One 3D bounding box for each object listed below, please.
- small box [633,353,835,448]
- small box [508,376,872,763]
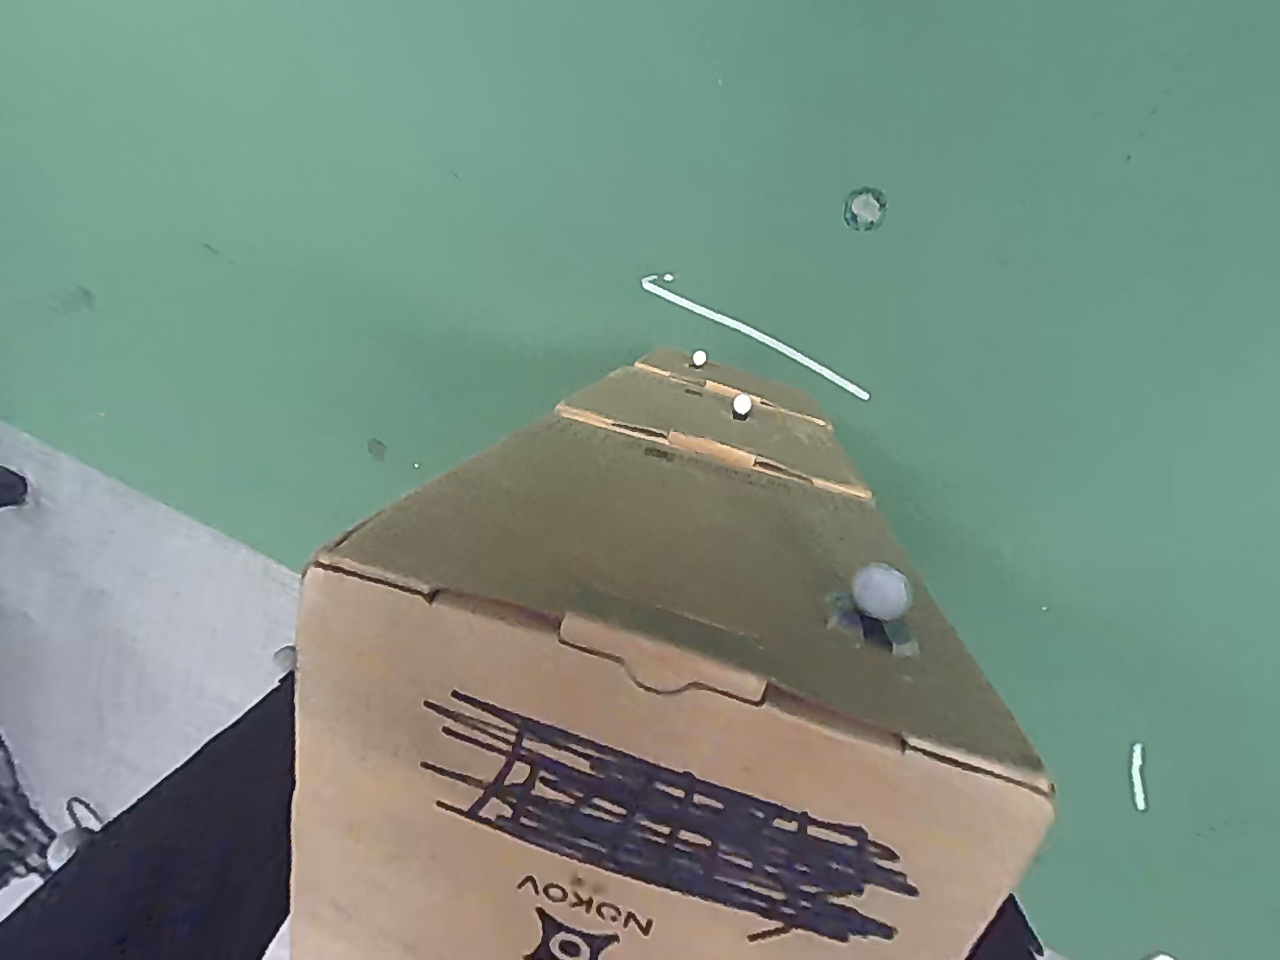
[{"bbox_3d":[0.063,-0.013,0.518,0.168,0.176,0.179,18,111,5],"label":"small box"},{"bbox_3d":[0.030,0.040,0.368,0.168,0.176,0.179,16,109,5],"label":"small box"}]
